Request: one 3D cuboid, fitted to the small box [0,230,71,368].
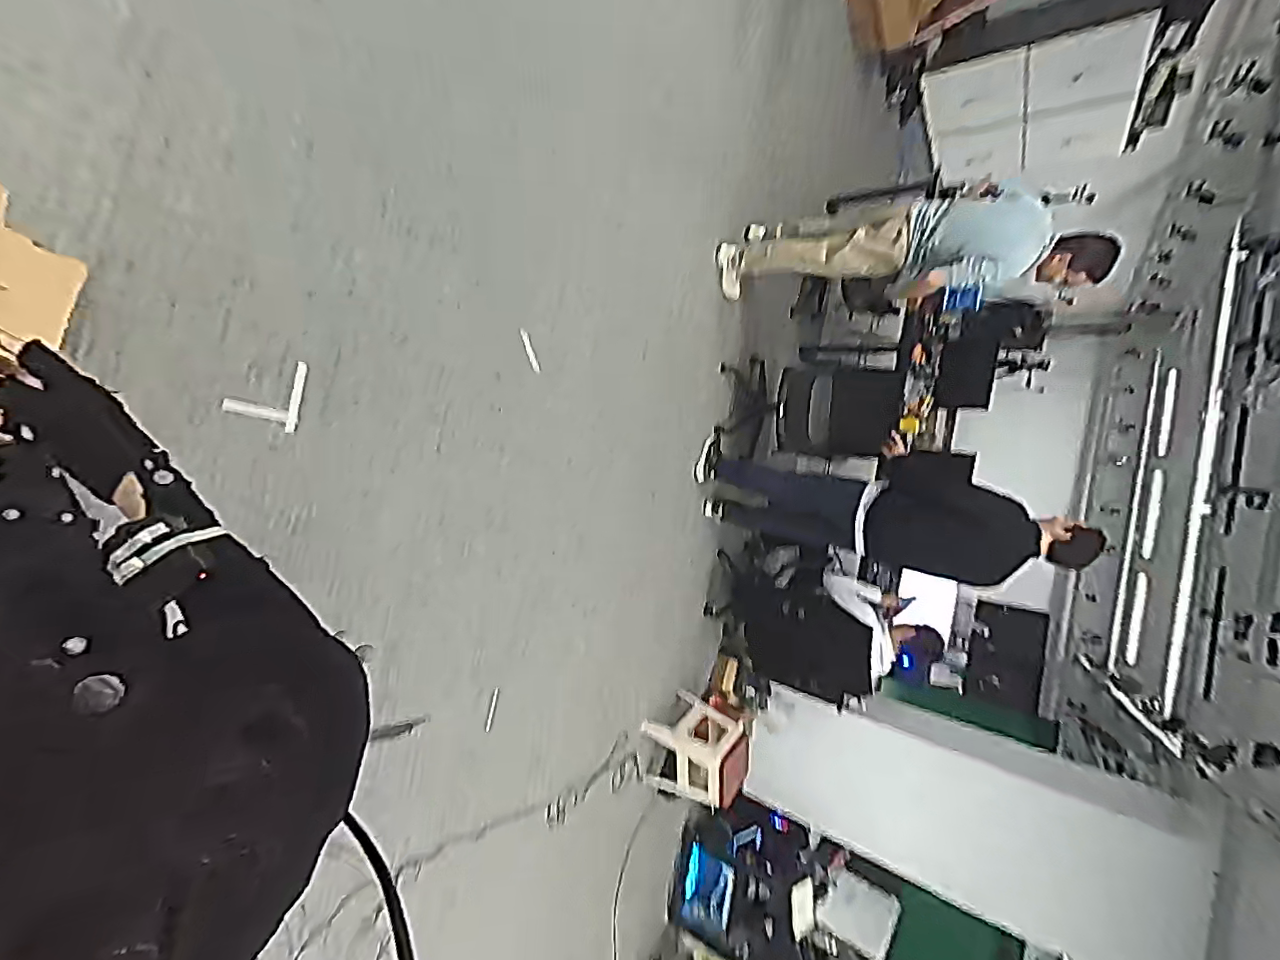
[{"bbox_3d":[-0.969,-0.272,0.766,0.168,0.176,0.179,24,76,-54],"label":"small box"}]
